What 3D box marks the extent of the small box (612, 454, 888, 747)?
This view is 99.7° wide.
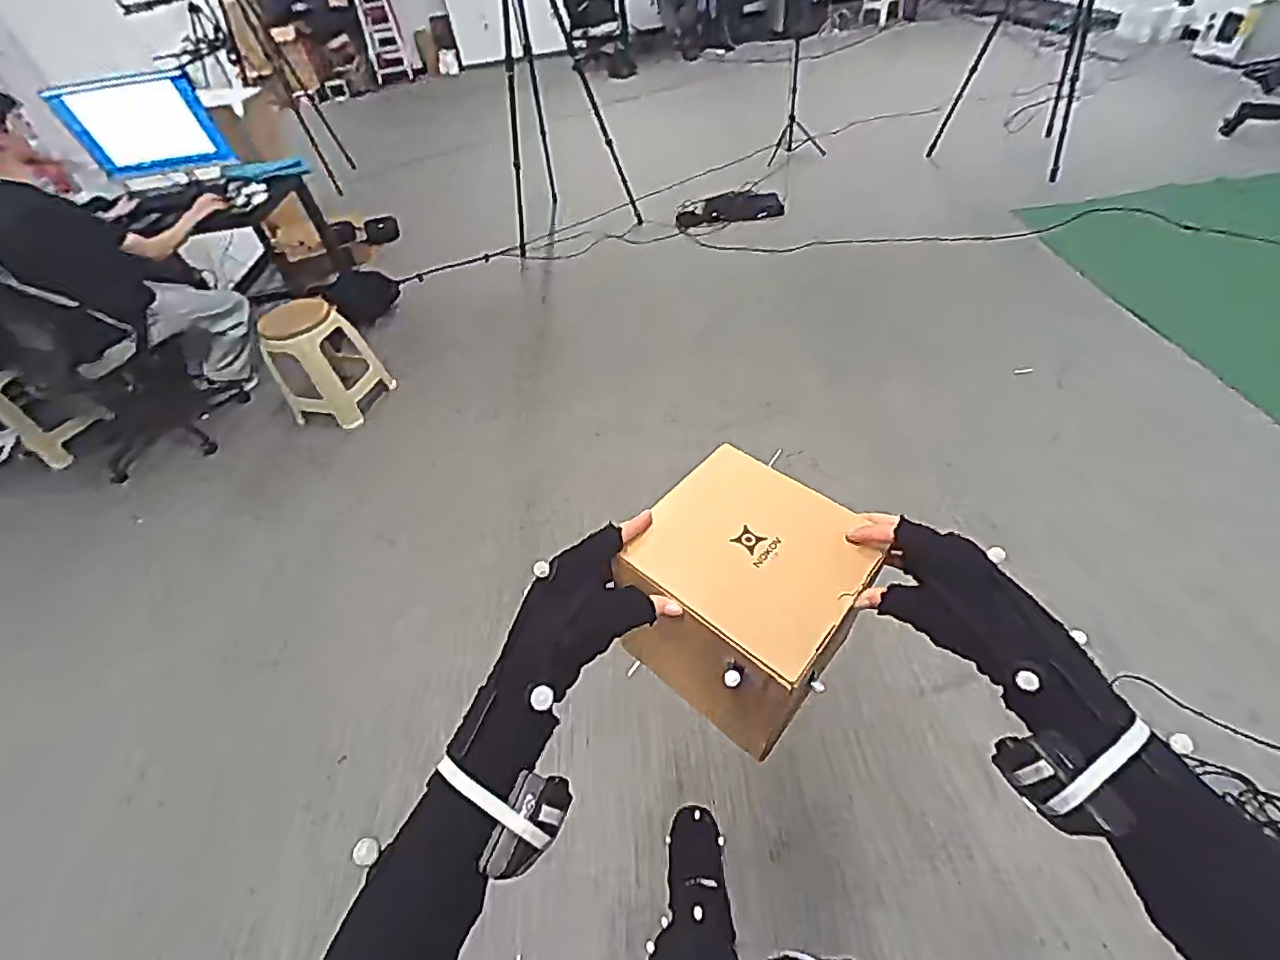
[{"bbox_3d":[0.091,0.112,0.510,0.179,0.176,0.168,34,55,27],"label":"small box"}]
